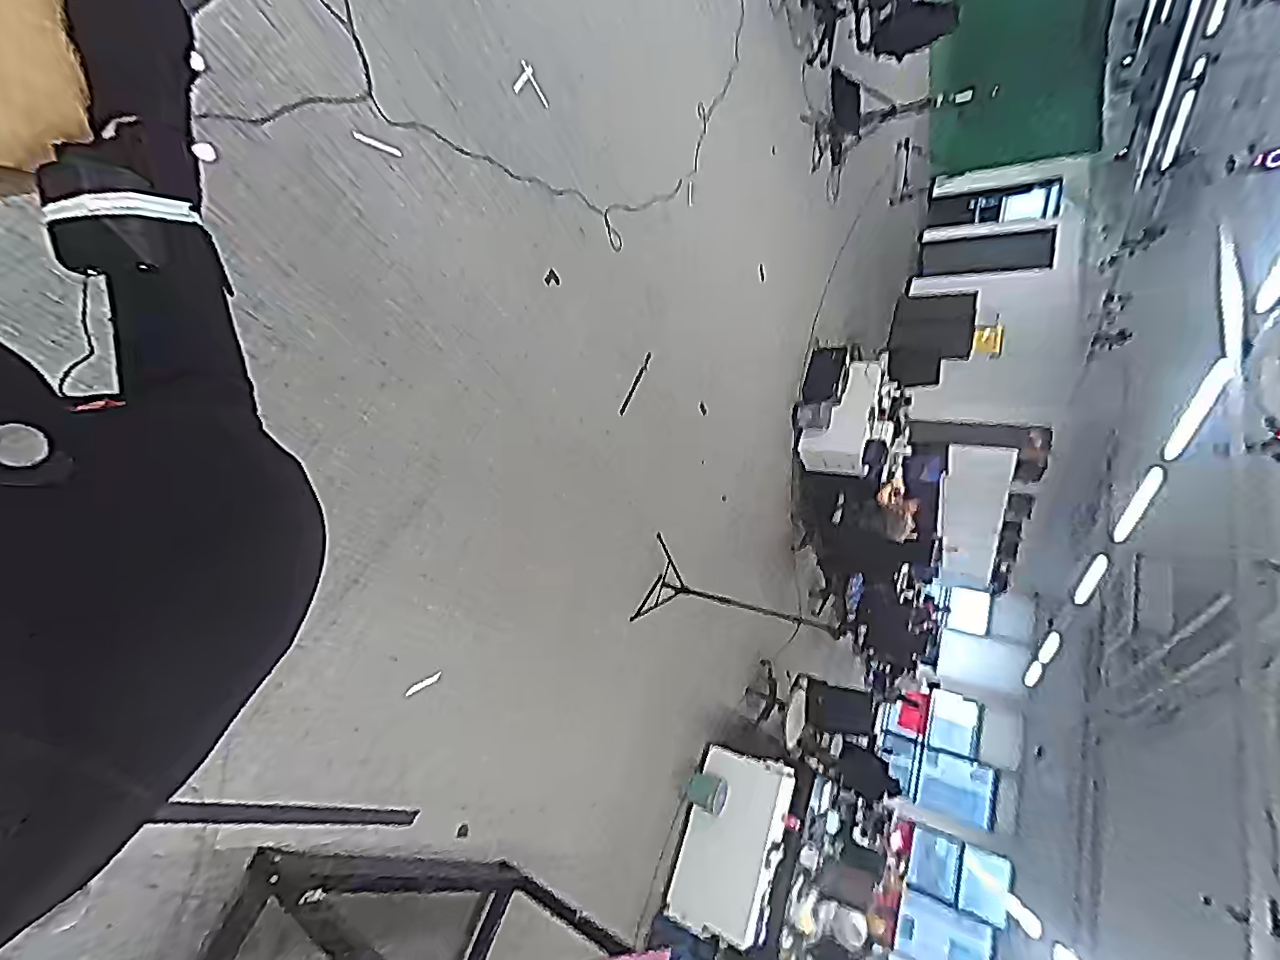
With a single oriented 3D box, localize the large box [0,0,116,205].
[{"bbox_3d":[-0.594,-0.350,0.259,0.408,0.320,0.320,-17,118,-57],"label":"large box"}]
